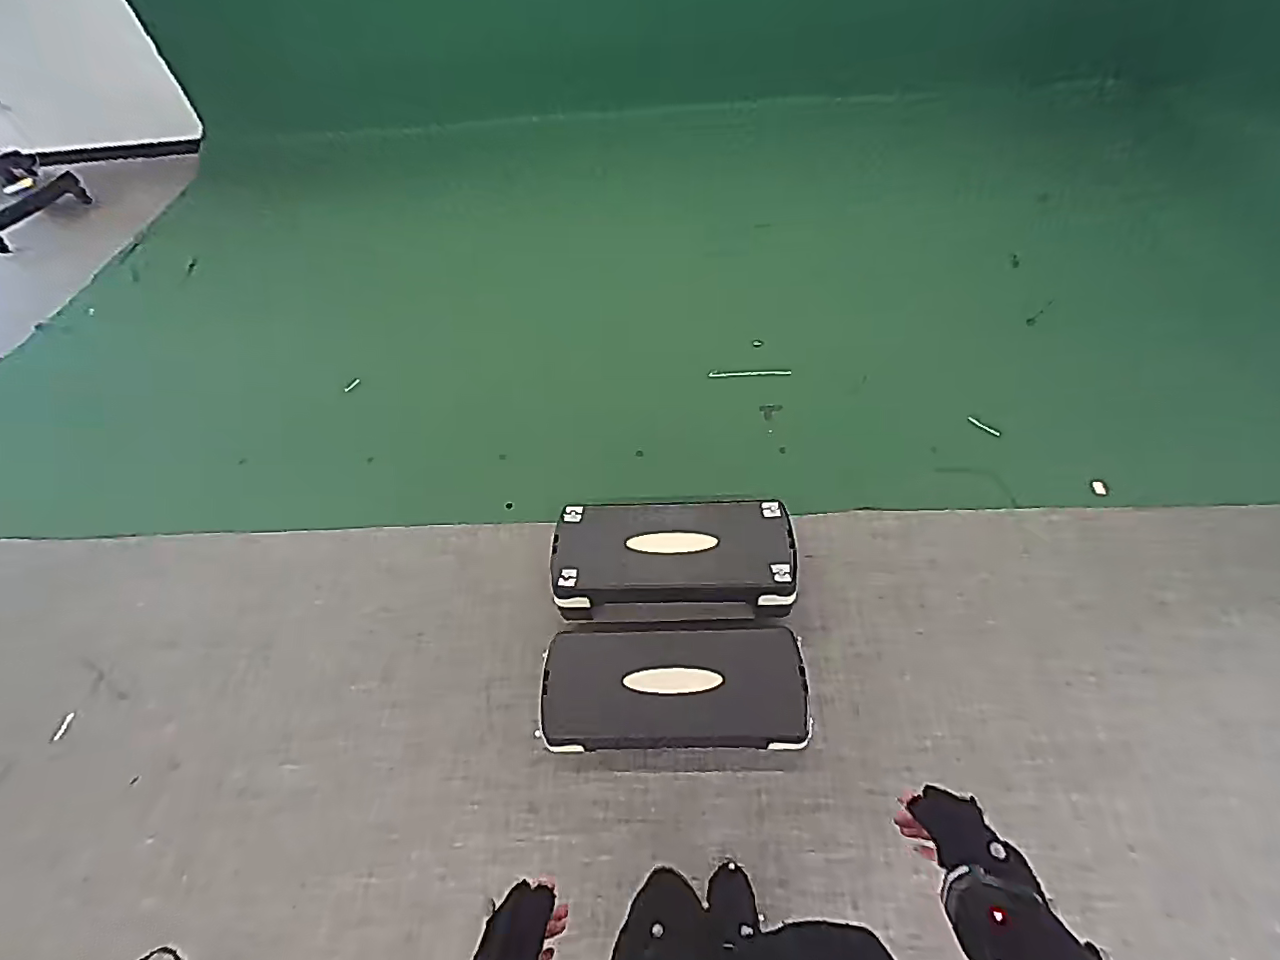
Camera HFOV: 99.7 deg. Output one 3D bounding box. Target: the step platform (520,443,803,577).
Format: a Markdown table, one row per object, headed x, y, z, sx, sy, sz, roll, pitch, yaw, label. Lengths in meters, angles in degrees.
| x | y | z | sx | sy | sz | roll | pitch | yaw | label |
| --- | --- | --- | --- | --- | --- | --- | --- | --- | --- |
| 0.052 | 0.083 | 1.392 | 0.684 | 0.204 | 0.286 | -2 | 54 | 4 | step platform |
